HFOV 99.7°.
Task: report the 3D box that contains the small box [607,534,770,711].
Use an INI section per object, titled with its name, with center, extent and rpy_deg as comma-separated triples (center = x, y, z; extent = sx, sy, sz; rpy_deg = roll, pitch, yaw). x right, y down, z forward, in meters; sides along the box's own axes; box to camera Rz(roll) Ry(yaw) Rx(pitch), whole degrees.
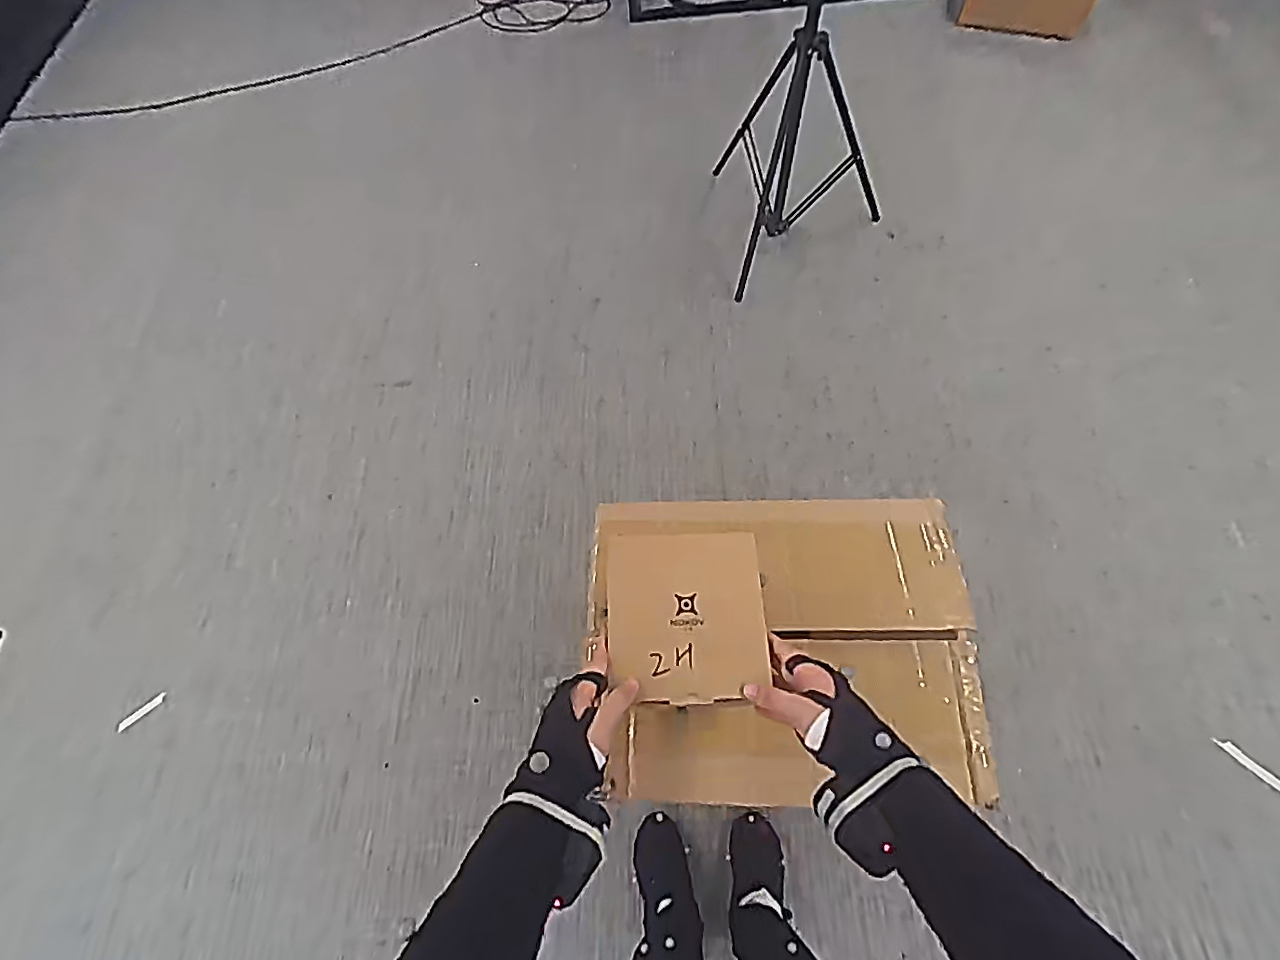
[small box]
center = 0.046, 0.175, 0.644
extent = 0.168, 0.176, 0.179
rpy_deg = -2, 65, 0
